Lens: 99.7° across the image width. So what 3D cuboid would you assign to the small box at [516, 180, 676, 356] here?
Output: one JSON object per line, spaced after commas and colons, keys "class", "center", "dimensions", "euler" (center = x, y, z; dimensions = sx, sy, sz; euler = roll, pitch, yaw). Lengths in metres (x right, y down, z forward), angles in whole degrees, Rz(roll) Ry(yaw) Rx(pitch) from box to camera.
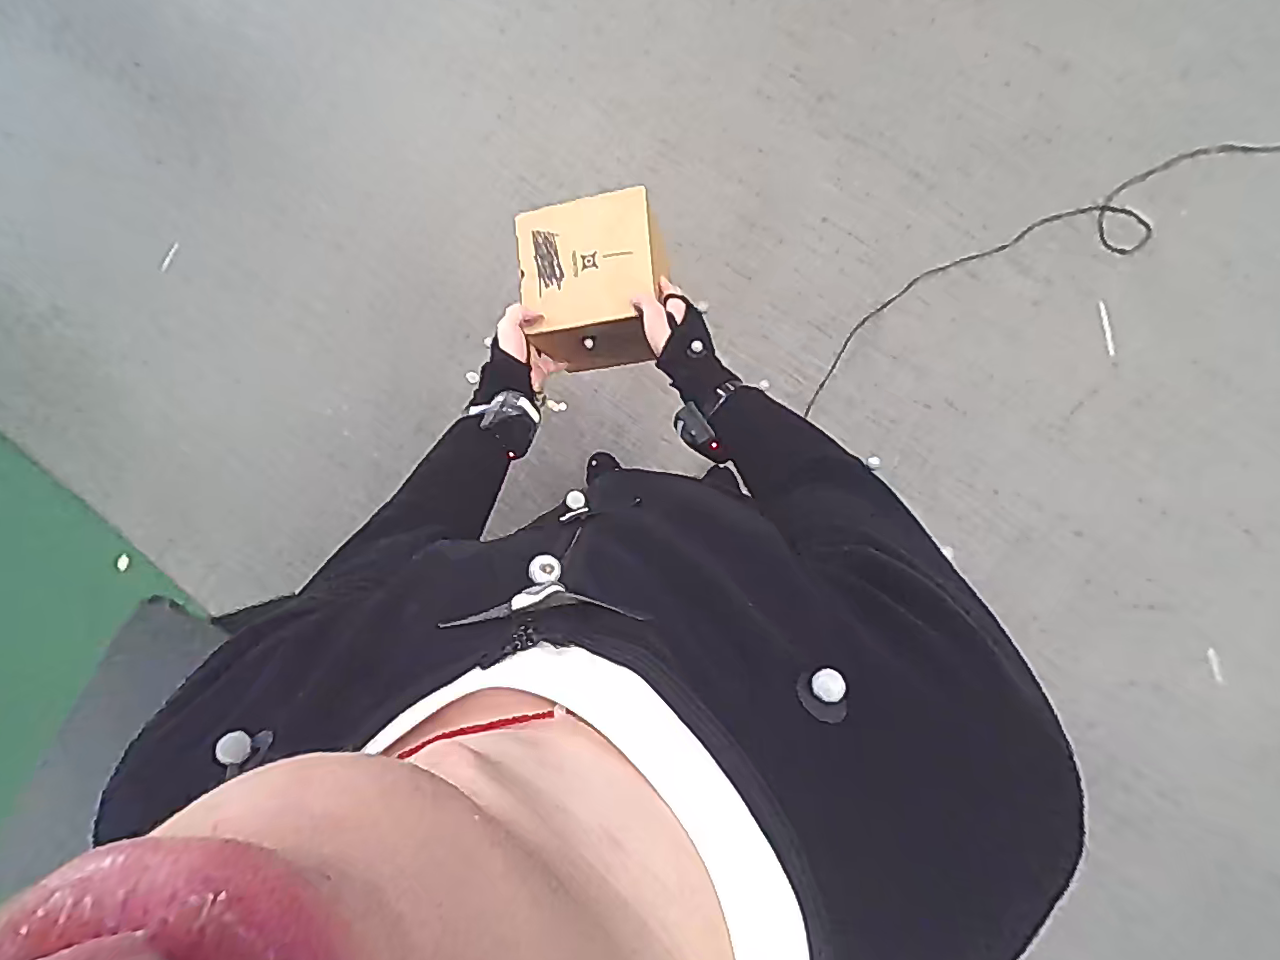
{"class": "small box", "center": [-0.053, -0.277, 0.748], "dimensions": [0.179, 0.176, 0.168], "euler": [-1, 86, 15]}
